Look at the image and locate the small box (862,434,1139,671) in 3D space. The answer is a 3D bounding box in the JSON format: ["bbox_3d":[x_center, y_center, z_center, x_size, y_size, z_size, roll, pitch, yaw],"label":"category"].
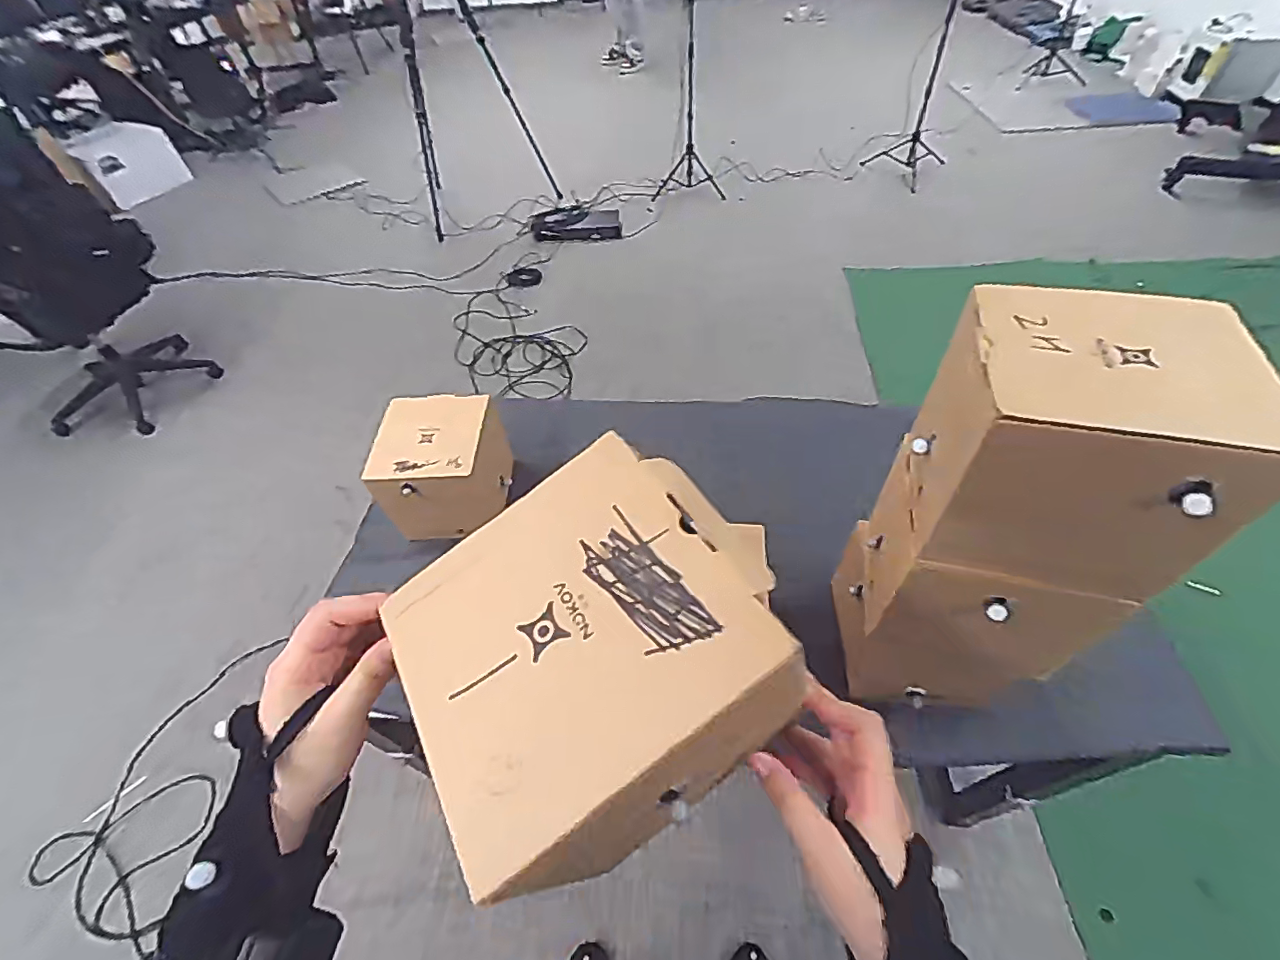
[{"bbox_3d":[0.342,0.078,0.557,0.179,0.176,0.168,9,51,14],"label":"small box"}]

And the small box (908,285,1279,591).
[{"bbox_3d":[0.334,-0.031,0.434,0.179,0.176,0.168,10,51,15],"label":"small box"}]

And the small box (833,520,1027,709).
[{"bbox_3d":[0.354,0.171,0.690,0.168,0.176,0.179,0,50,7],"label":"small box"}]

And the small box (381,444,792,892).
[{"bbox_3d":[-0.022,0.117,0.347,0.179,0.176,0.168,-36,54,-6],"label":"small box"}]

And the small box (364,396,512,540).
[{"bbox_3d":[-0.322,-0.019,0.905,0.168,0.176,0.179,-3,51,3],"label":"small box"}]
